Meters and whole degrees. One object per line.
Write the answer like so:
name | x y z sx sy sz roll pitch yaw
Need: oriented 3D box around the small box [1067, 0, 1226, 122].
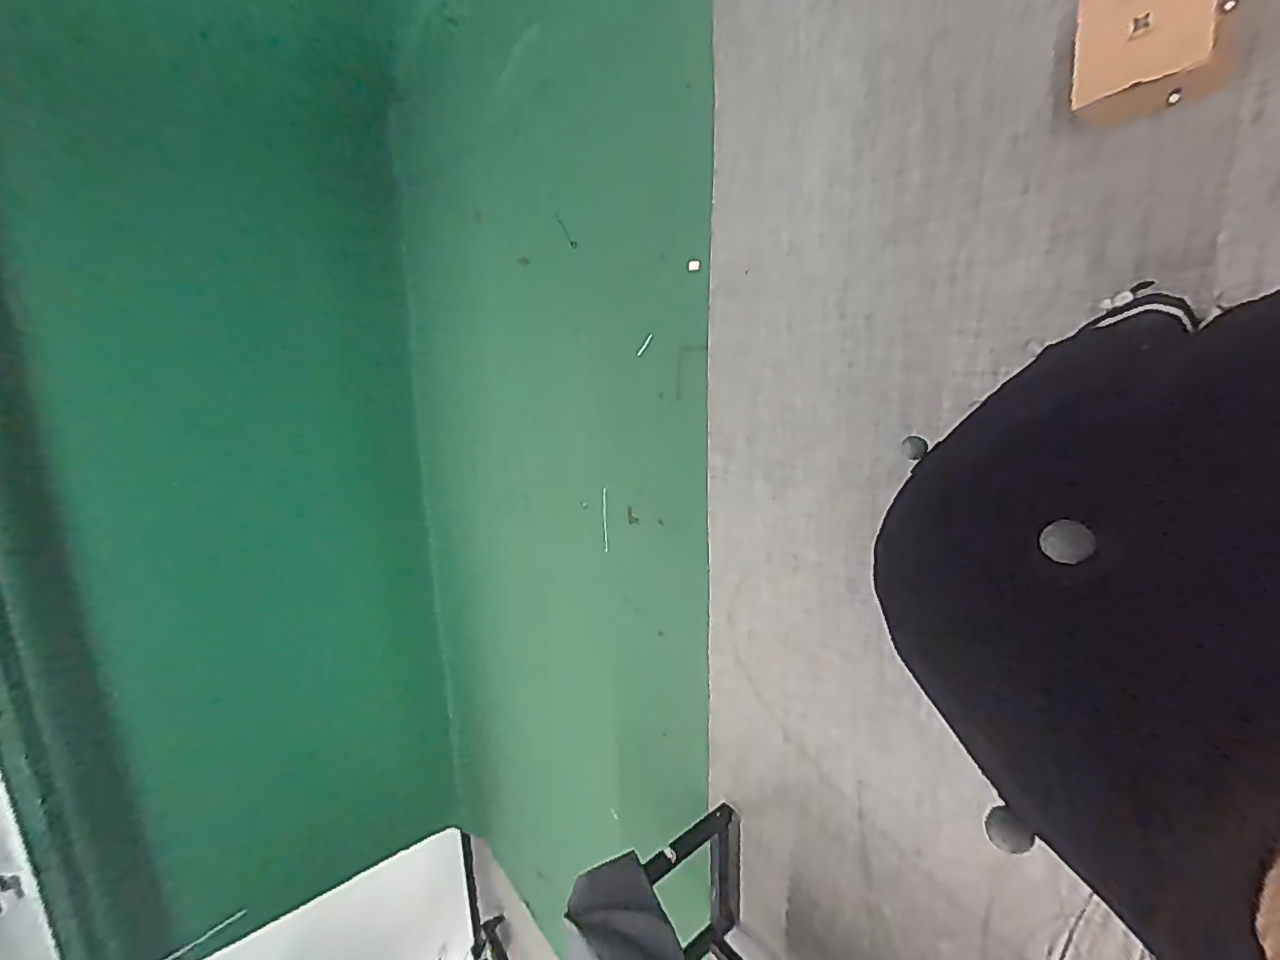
small box | 0.824 -0.716 0.880 0.168 0.176 0.179 7 104 49
